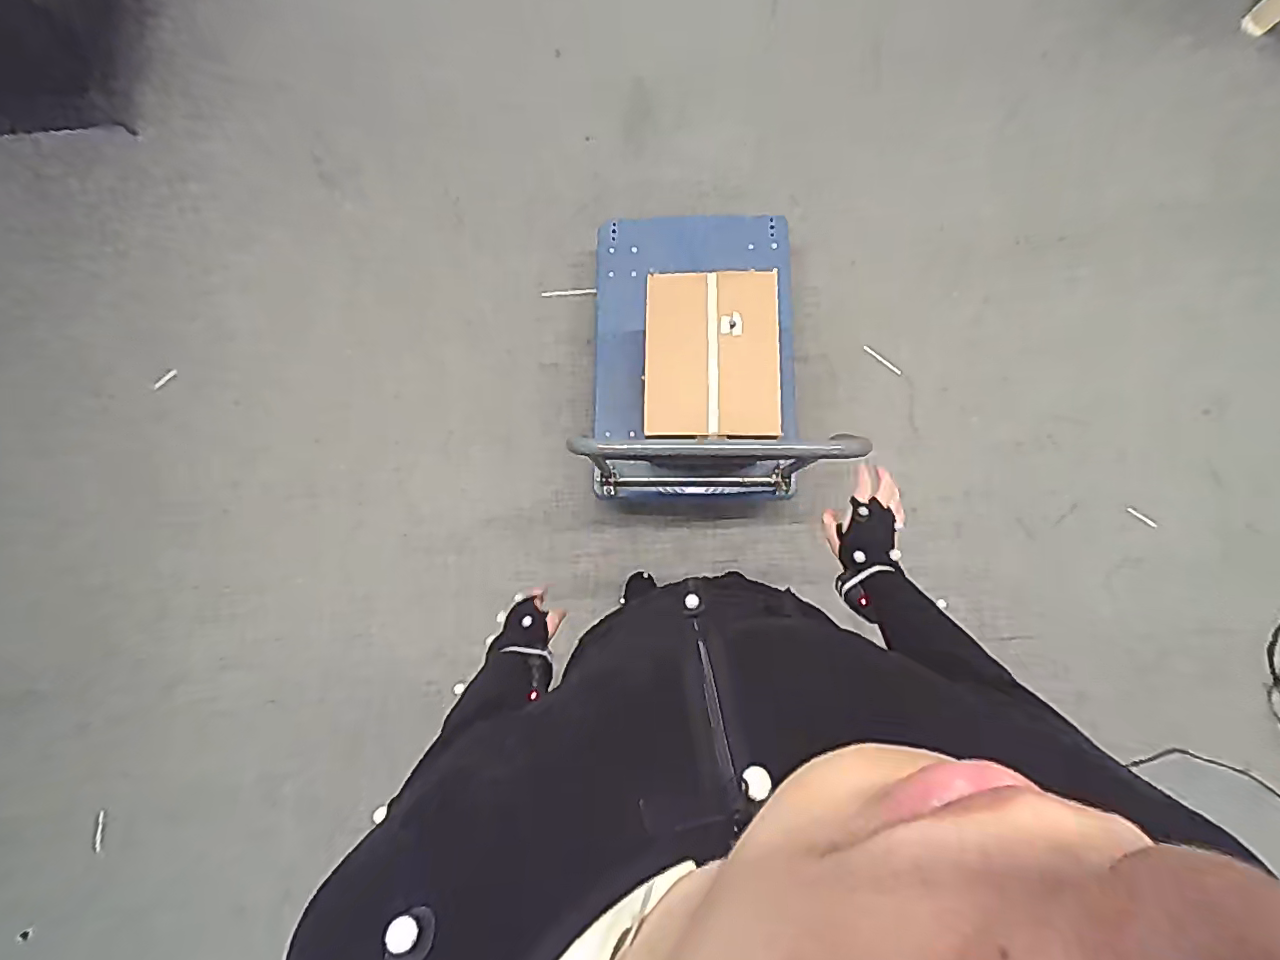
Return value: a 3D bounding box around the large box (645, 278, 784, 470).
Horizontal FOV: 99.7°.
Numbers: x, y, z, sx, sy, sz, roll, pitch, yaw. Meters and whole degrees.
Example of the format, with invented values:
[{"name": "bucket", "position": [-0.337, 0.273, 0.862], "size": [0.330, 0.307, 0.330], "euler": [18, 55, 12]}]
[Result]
[{"name": "large box", "position": [0.176, -0.253, 1.393], "size": [0.320, 0.320, 0.408], "euler": [0, 79, 2]}]
